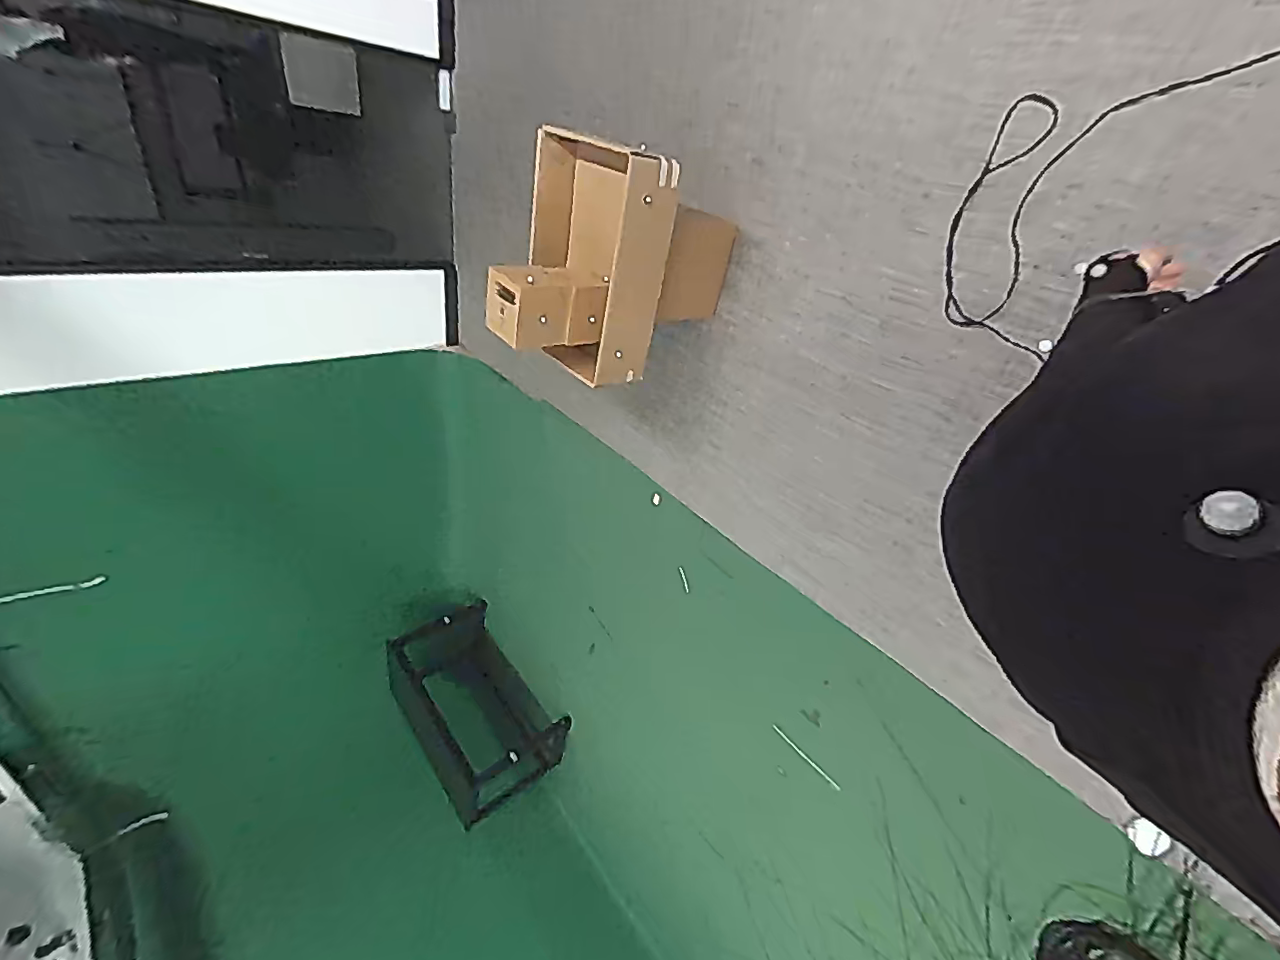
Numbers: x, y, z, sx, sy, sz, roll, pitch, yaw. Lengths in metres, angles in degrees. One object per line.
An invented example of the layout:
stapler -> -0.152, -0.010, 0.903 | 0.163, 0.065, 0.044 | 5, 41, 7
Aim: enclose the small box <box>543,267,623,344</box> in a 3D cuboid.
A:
small box -> -0.172, -0.531, 1.634 | 0.168, 0.176, 0.179 | 40, 132, 33
